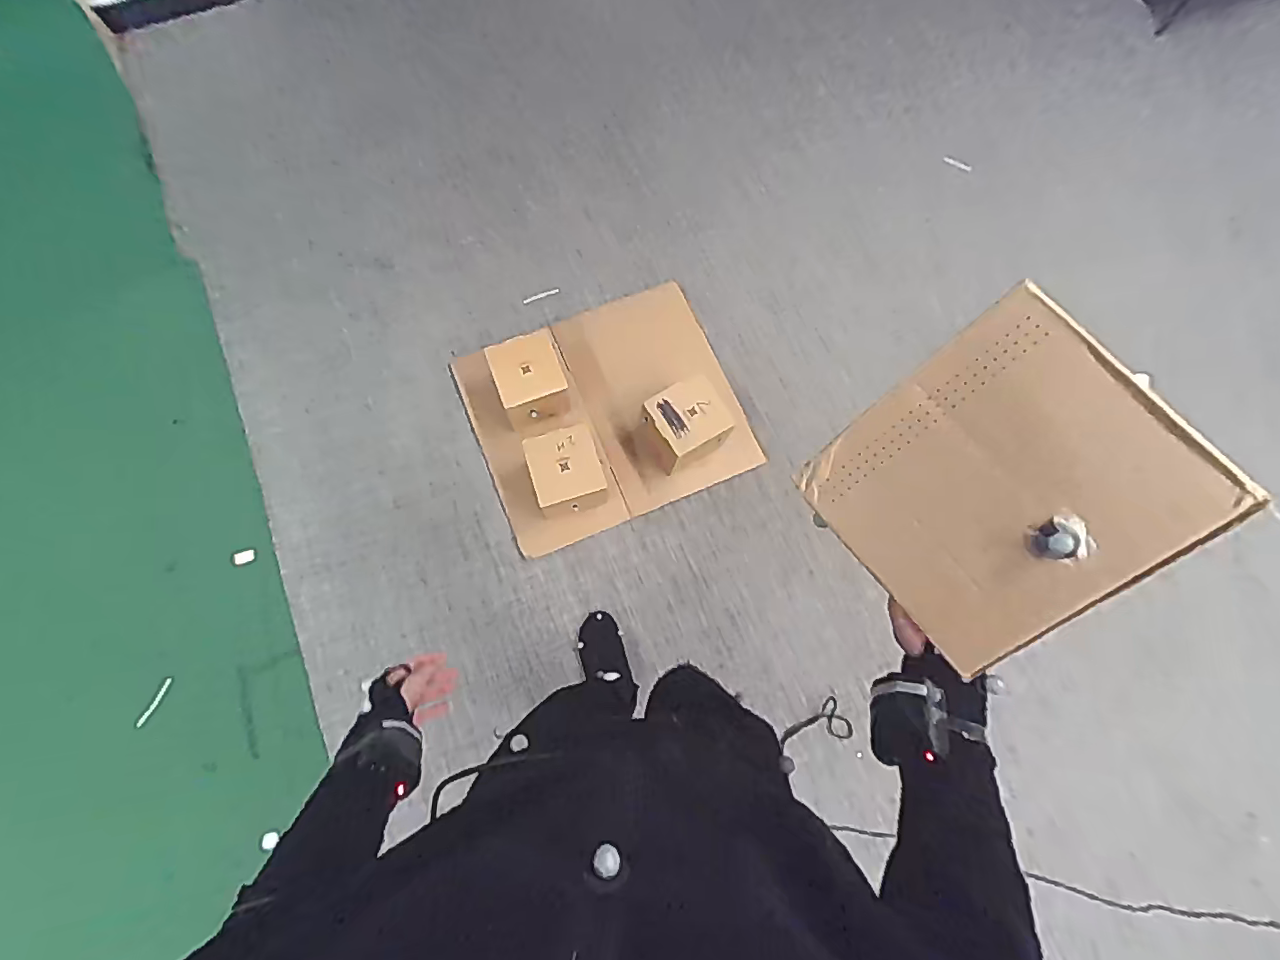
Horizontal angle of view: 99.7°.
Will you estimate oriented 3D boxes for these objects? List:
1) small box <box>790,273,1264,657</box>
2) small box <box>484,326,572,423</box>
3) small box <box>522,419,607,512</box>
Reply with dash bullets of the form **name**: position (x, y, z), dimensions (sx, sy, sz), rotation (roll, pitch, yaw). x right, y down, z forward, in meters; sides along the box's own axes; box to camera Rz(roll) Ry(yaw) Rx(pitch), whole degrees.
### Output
- **small box**: position (0.238, -0.014, 0.389), dimensions (0.179, 0.168, 0.176), rotation (-43, 77, 21)
- **small box**: position (-0.284, -0.263, 1.408), dimensions (0.168, 0.176, 0.179), rotation (-21, 77, -8)
- **small box**: position (-0.182, -0.026, 1.350), dimensions (0.168, 0.176, 0.179), rotation (-16, 77, -7)
